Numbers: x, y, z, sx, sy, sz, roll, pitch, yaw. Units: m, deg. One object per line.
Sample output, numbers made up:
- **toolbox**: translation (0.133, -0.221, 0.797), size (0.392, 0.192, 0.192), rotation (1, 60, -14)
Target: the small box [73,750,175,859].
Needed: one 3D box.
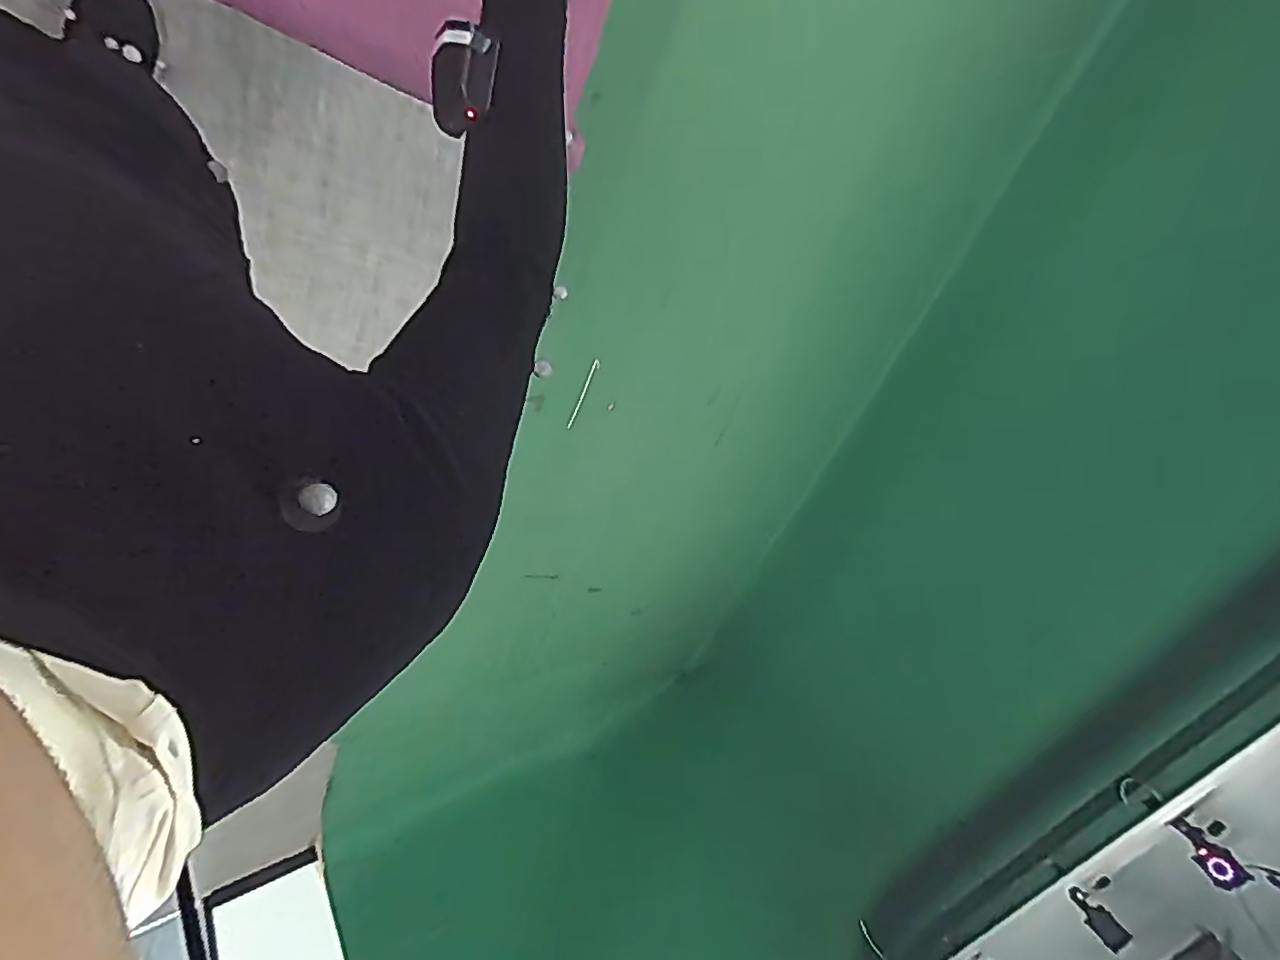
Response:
- **small box**: translation (-1.418, 0.878, 1.484), size (0.179, 0.176, 0.168), rotation (10, 118, -51)
